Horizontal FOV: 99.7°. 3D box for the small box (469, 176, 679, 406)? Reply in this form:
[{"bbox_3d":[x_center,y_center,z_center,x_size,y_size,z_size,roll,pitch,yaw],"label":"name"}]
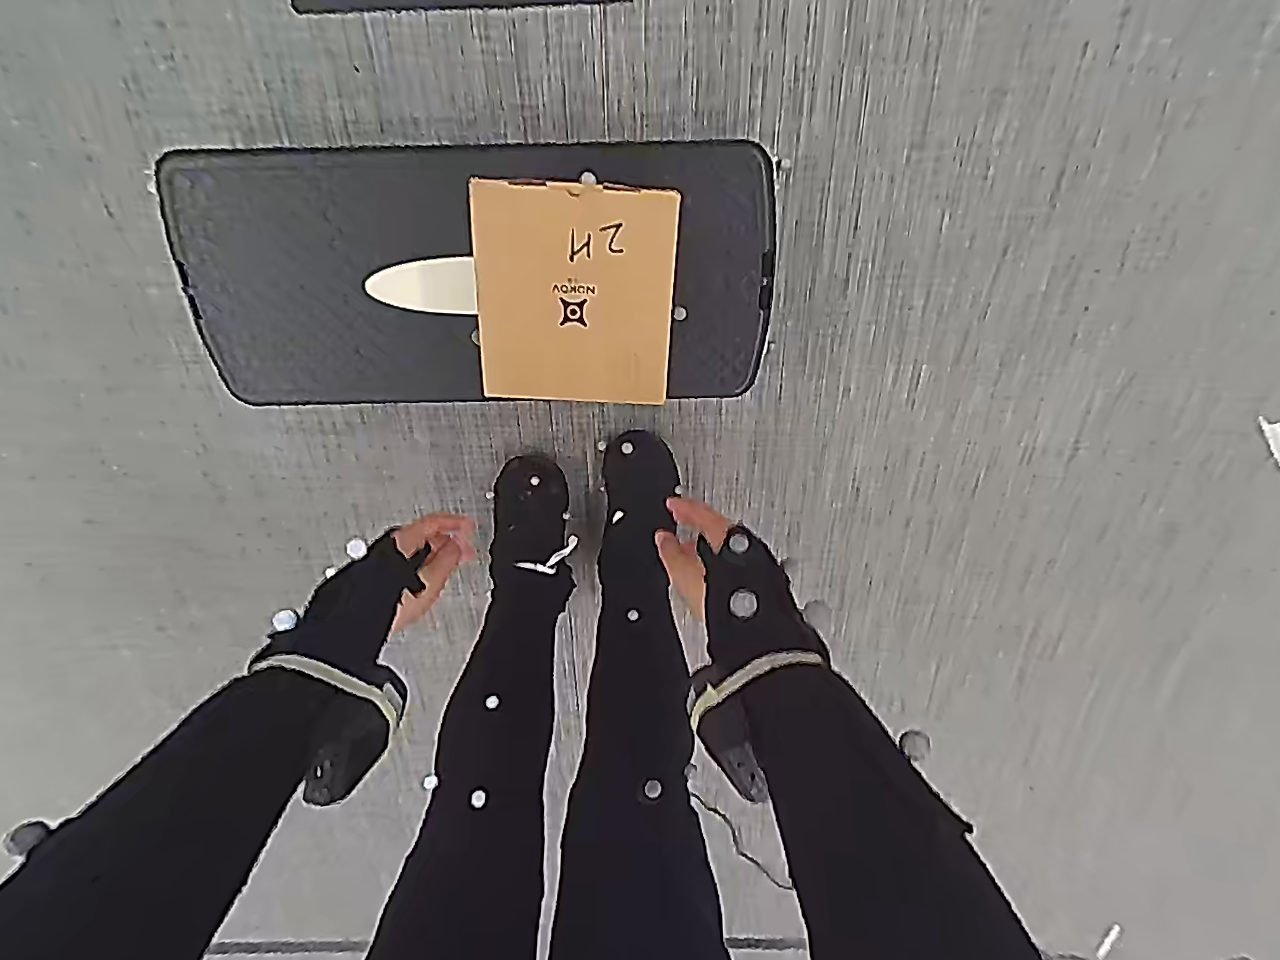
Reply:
[{"bbox_3d":[-0.056,-0.184,0.524,0.168,0.176,0.179,3,115,-2],"label":"small box"}]
